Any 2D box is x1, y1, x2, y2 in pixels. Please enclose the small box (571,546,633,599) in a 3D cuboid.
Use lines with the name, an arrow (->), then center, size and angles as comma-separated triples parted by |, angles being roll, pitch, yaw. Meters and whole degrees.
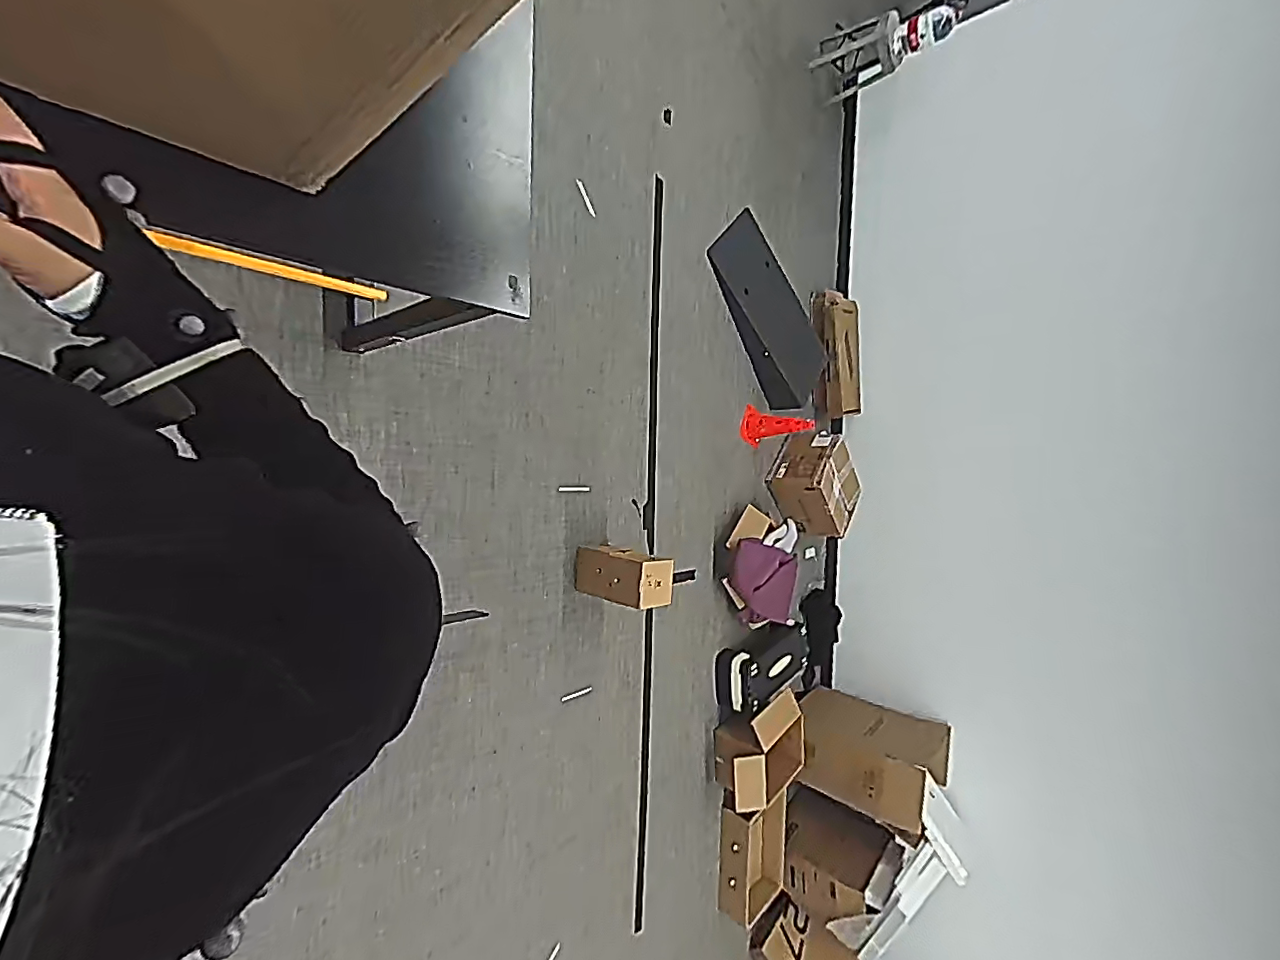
small box -> -0.147, 0.347, 2.068 | 0.168, 0.176, 0.179 | 6, 89, -48

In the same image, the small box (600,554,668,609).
small box -> -0.021, 0.363, 1.963 | 0.179, 0.176, 0.168 | 5, 89, -48
